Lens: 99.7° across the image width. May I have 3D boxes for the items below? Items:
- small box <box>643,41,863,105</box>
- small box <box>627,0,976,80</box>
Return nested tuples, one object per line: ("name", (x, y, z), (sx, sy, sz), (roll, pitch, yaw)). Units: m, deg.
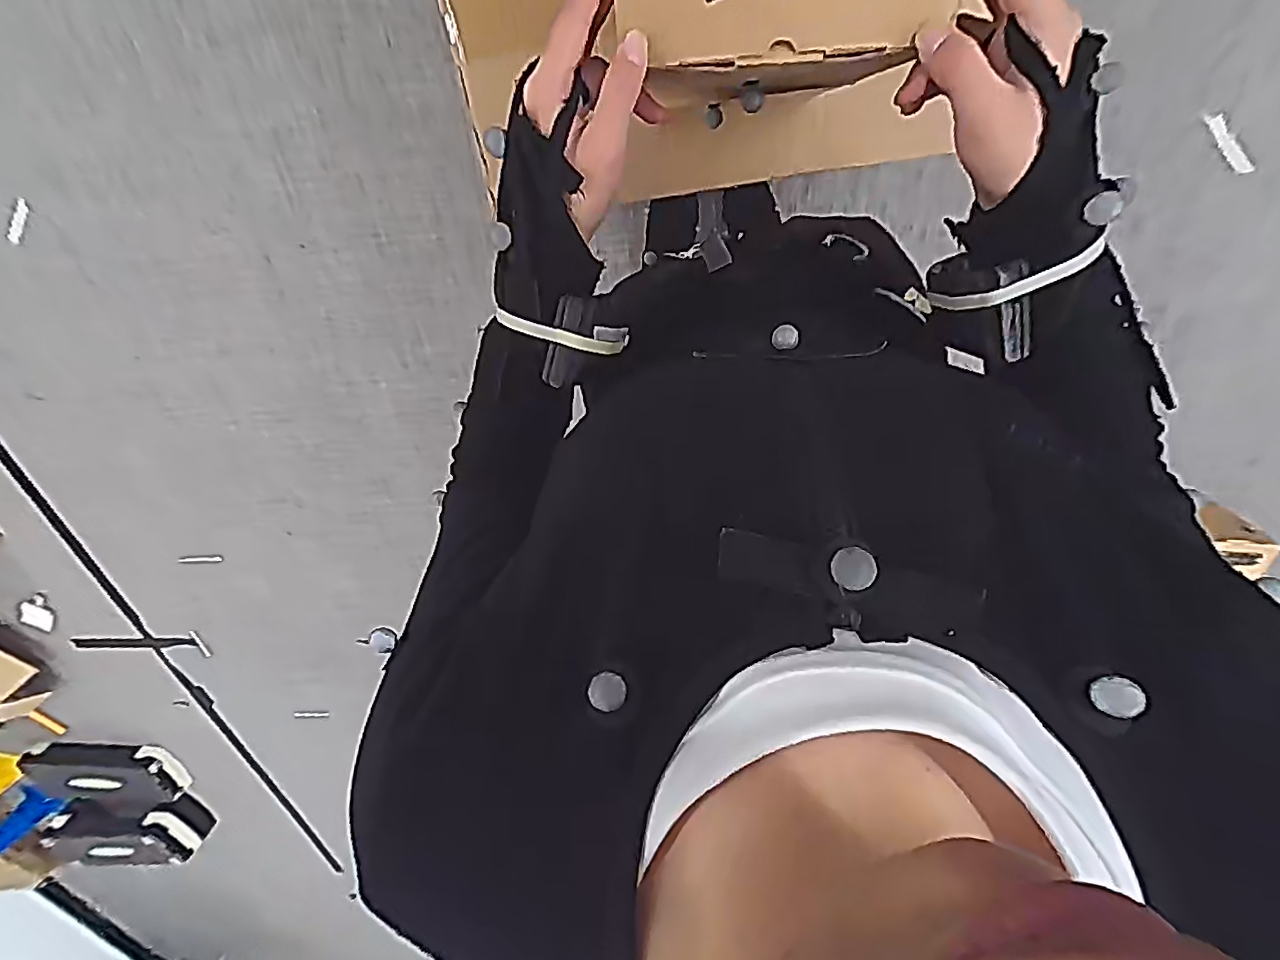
("small box", (0.086, -0.414, 0.432), (0.168, 0.176, 0.179), (-3, 120, 7))
("small box", (0.078, -0.332, 0.284), (0.168, 0.176, 0.179), (0, 121, 5))
